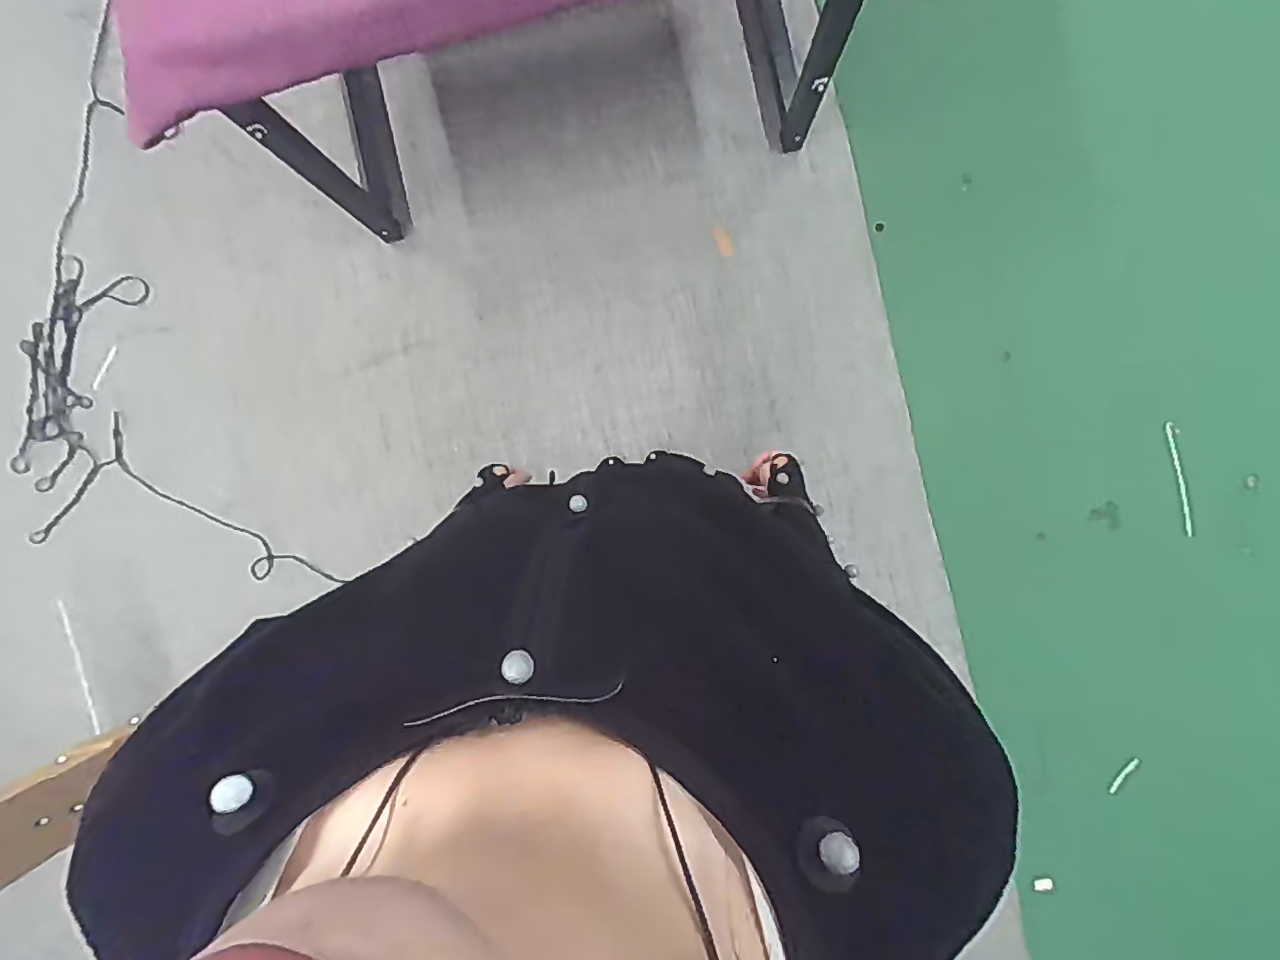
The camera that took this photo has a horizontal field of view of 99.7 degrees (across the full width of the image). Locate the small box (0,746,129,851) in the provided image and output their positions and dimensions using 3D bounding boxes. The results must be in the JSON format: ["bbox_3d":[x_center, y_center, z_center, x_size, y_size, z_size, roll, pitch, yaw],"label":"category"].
[{"bbox_3d":[-1.457,0.811,1.365,0.168,0.176,0.179,-14,91,2],"label":"small box"}]

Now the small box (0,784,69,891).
[{"bbox_3d":[-1.450,0.808,1.201,0.168,0.176,0.179,-16,91,3],"label":"small box"}]

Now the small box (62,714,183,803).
[{"bbox_3d":[-1.451,0.796,1.528,0.168,0.176,0.179,-14,91,3],"label":"small box"}]
